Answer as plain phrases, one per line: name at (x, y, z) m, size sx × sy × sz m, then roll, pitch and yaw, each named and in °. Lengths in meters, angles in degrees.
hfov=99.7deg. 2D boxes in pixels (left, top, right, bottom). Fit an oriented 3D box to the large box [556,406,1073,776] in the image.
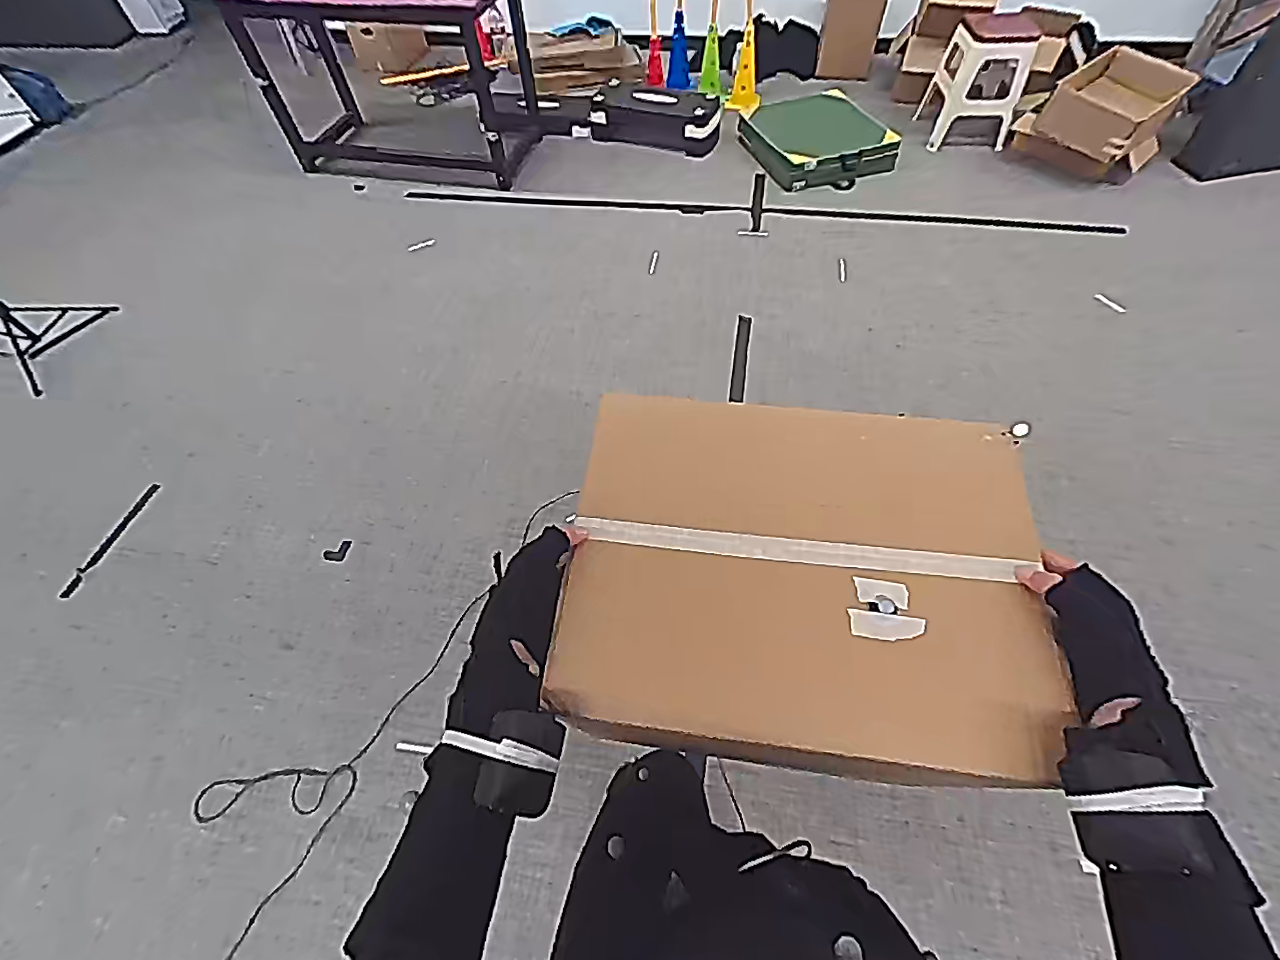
large box at (0.147, 0.140, 0.616) m, size 0.408 × 0.320 × 0.320 m, roll 6°, pitch 63°, yaw 5°
